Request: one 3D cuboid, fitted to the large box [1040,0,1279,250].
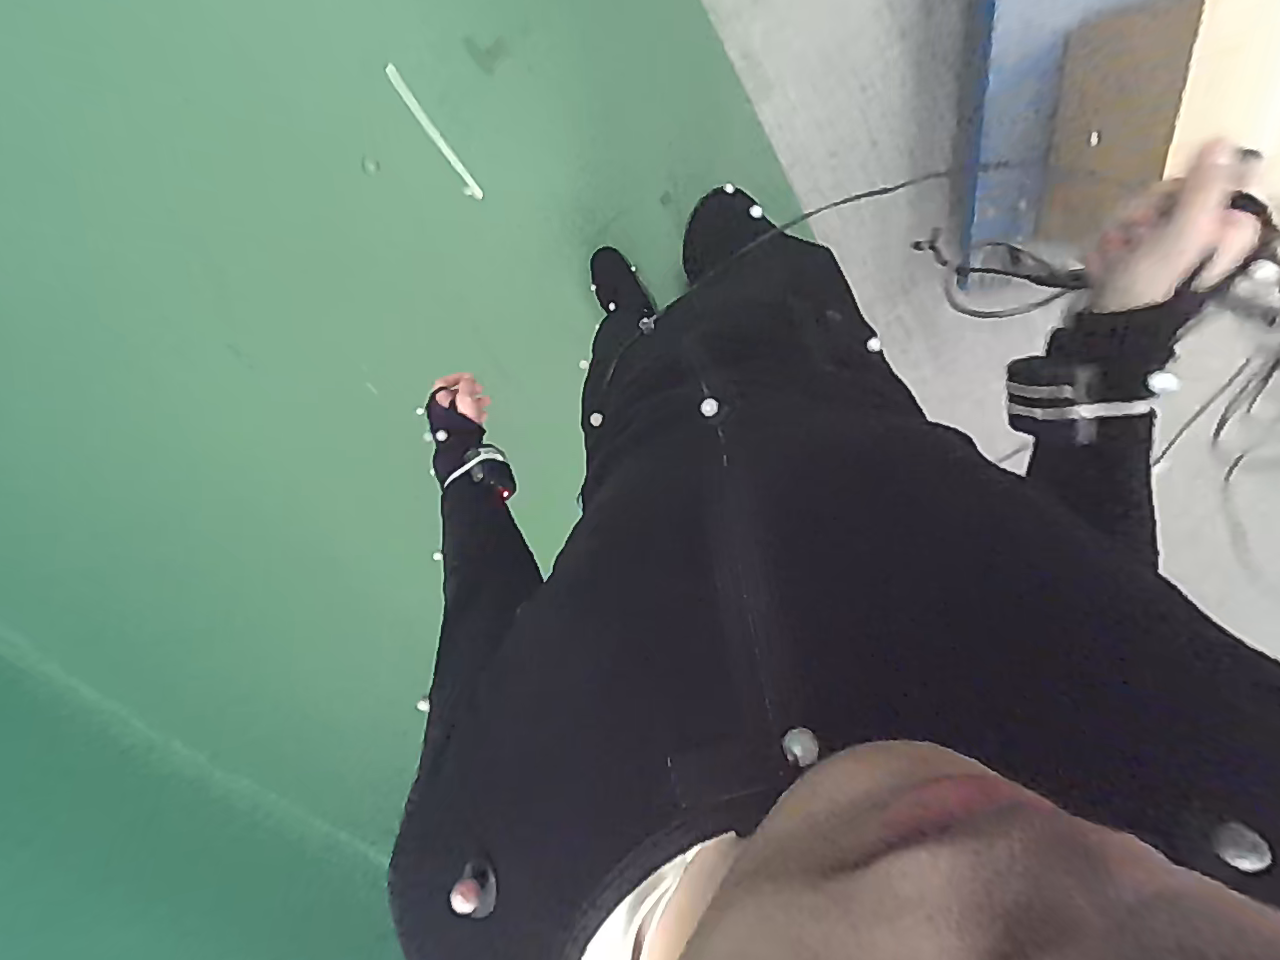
[{"bbox_3d":[1.040,-0.687,1.028,0.320,0.320,0.408,-9,117,3],"label":"large box"}]
